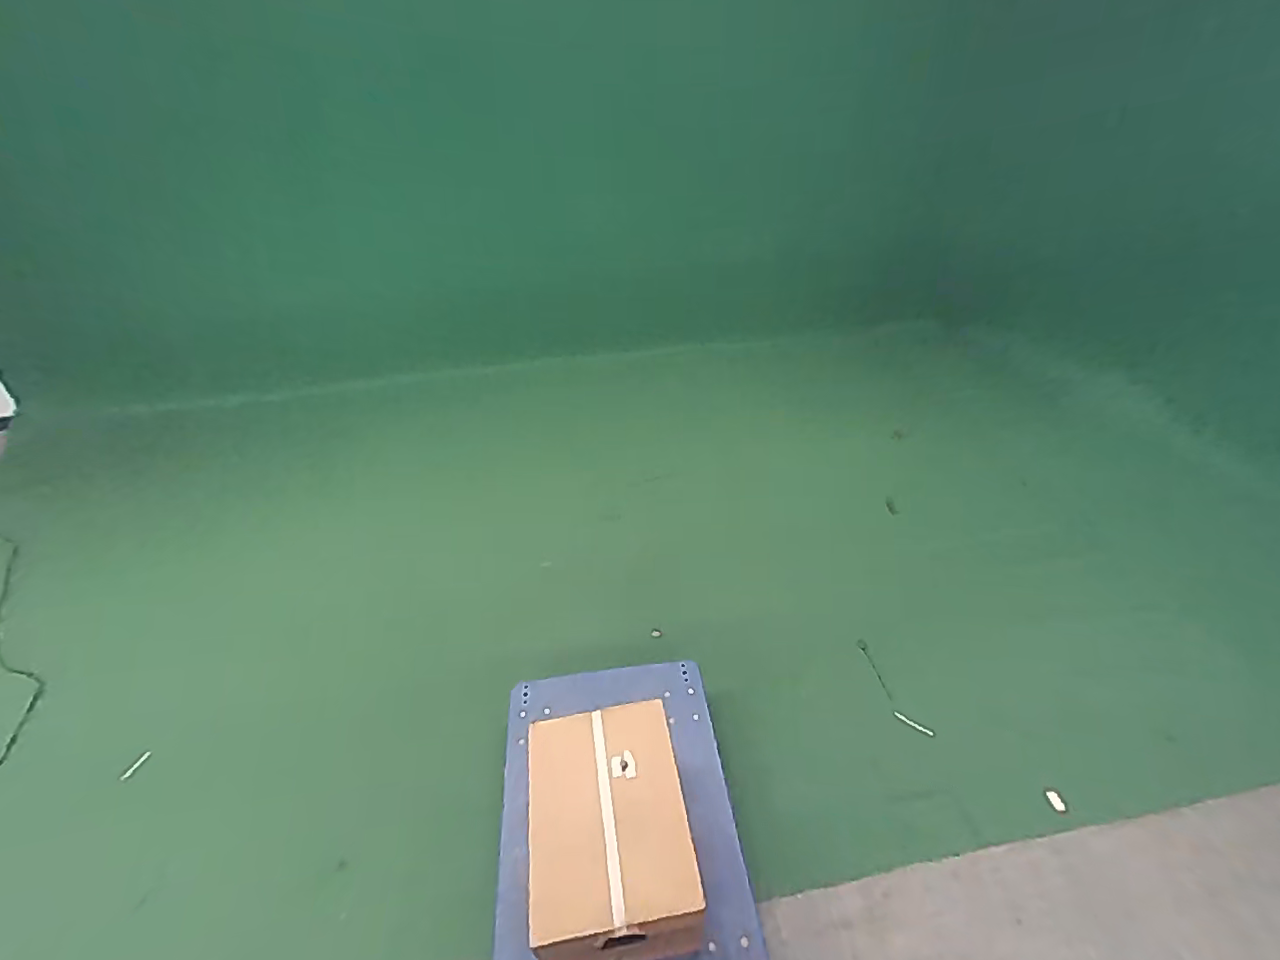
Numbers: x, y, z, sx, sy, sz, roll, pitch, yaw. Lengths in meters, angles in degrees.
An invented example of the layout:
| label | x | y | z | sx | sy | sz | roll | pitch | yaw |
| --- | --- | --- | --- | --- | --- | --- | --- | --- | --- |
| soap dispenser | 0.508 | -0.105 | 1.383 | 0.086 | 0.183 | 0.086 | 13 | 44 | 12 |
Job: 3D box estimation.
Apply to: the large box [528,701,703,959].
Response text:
| label | x | y | z | sx | sy | sz | roll | pitch | yaw |
| --- | --- | --- | --- | --- | --- | --- | --- | --- | --- |
| large box | -0.062 | 0.778 | 1.193 | 0.320 | 0.320 | 0.408 | -8 | 39 | -6 |
